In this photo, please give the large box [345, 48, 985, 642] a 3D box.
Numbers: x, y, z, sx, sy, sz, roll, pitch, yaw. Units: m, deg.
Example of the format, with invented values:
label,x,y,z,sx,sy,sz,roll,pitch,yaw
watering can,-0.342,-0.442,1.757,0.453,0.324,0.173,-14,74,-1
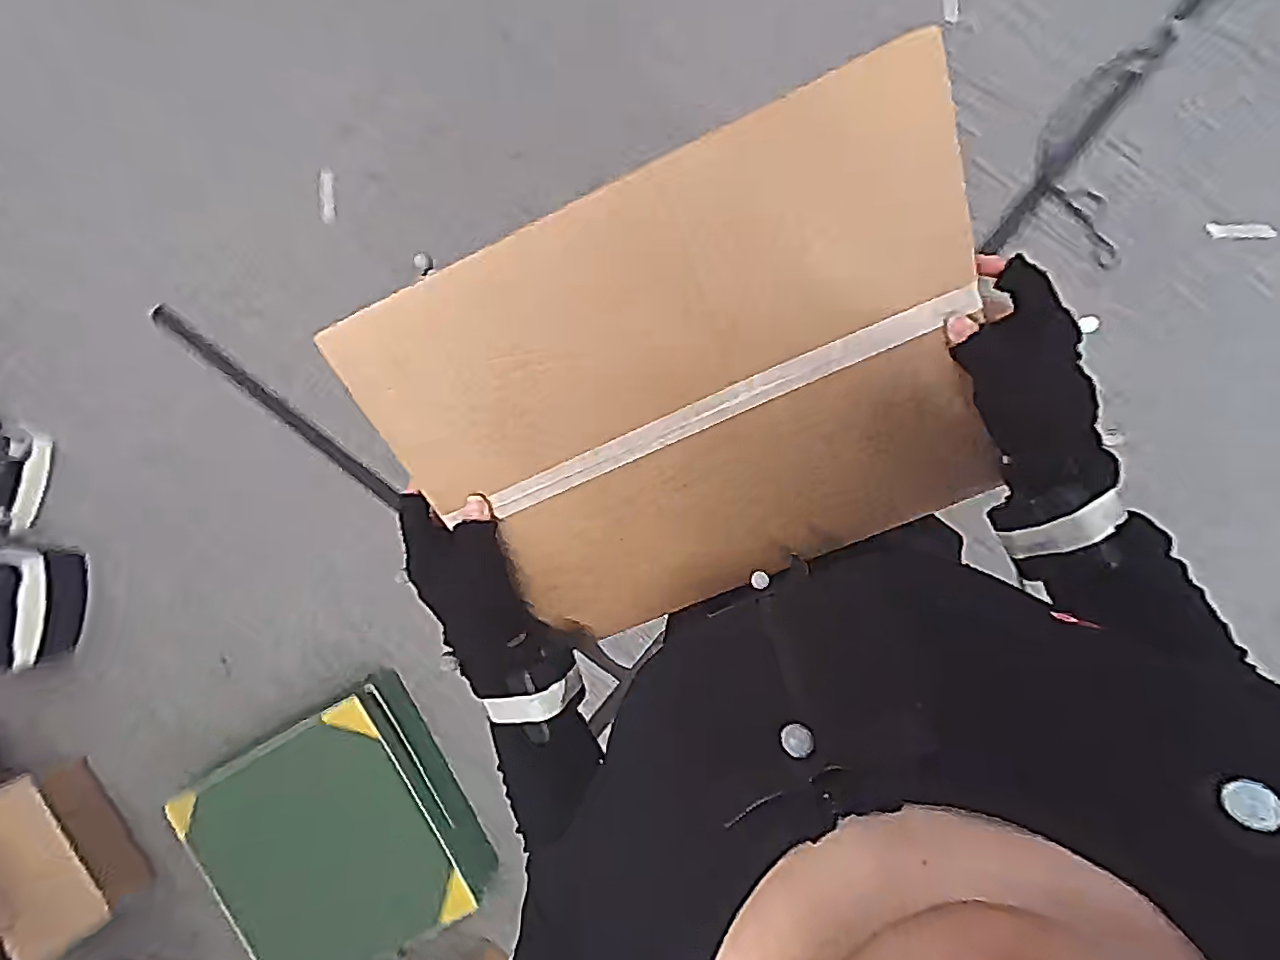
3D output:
label,x,y,z,sx,sy,sz,roll,pitch,yaw
large box,0.030,-0.114,0.530,0.408,0.320,0.320,-22,117,8
